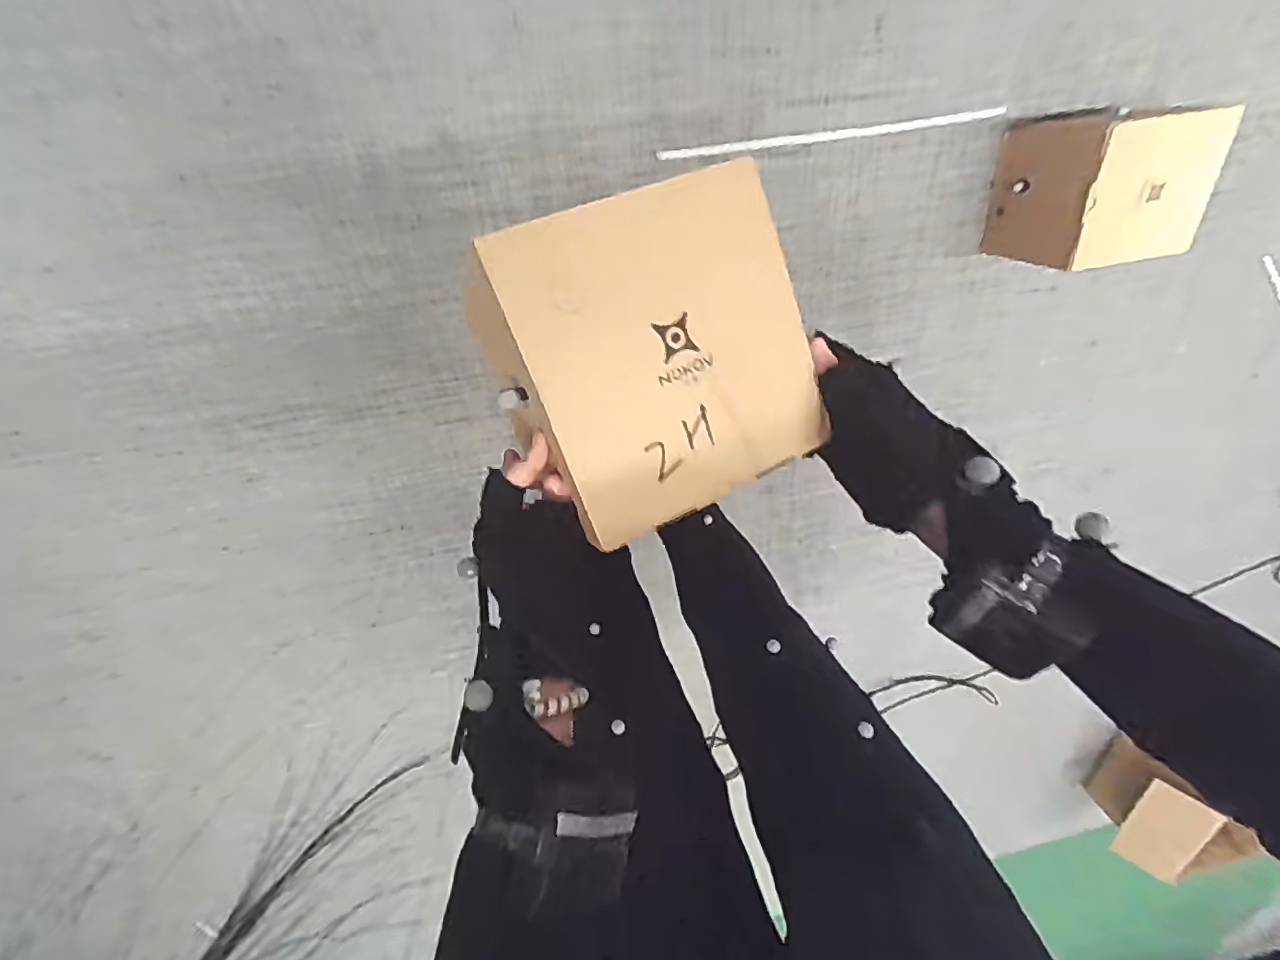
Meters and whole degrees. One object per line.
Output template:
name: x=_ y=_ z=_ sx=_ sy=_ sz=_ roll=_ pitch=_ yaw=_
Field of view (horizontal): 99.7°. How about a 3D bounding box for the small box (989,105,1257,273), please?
small box: x=0.619 y=-0.391 z=0.722 sx=0.179 sy=0.176 sz=0.168 roll=-11 pitch=123 yaw=-4
